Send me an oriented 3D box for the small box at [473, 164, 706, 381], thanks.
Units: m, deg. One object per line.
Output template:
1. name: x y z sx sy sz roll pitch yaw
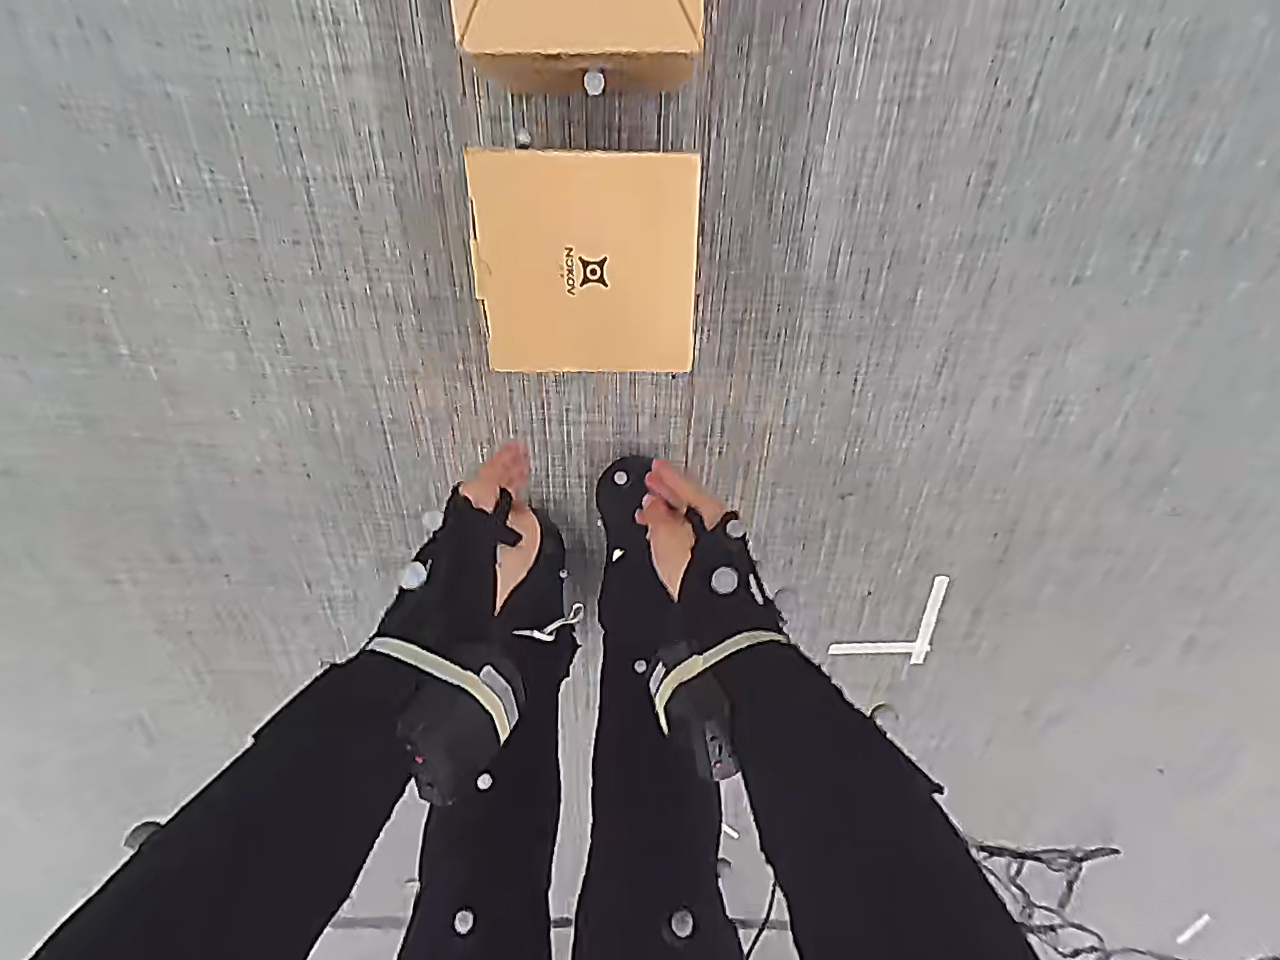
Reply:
1. small box: -0.040 -0.198 0.507 0.179 0.176 0.168 0 118 -1

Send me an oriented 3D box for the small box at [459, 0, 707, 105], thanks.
1. small box: -0.039 -0.393 0.398 0.168 0.176 0.179 0 118 0
